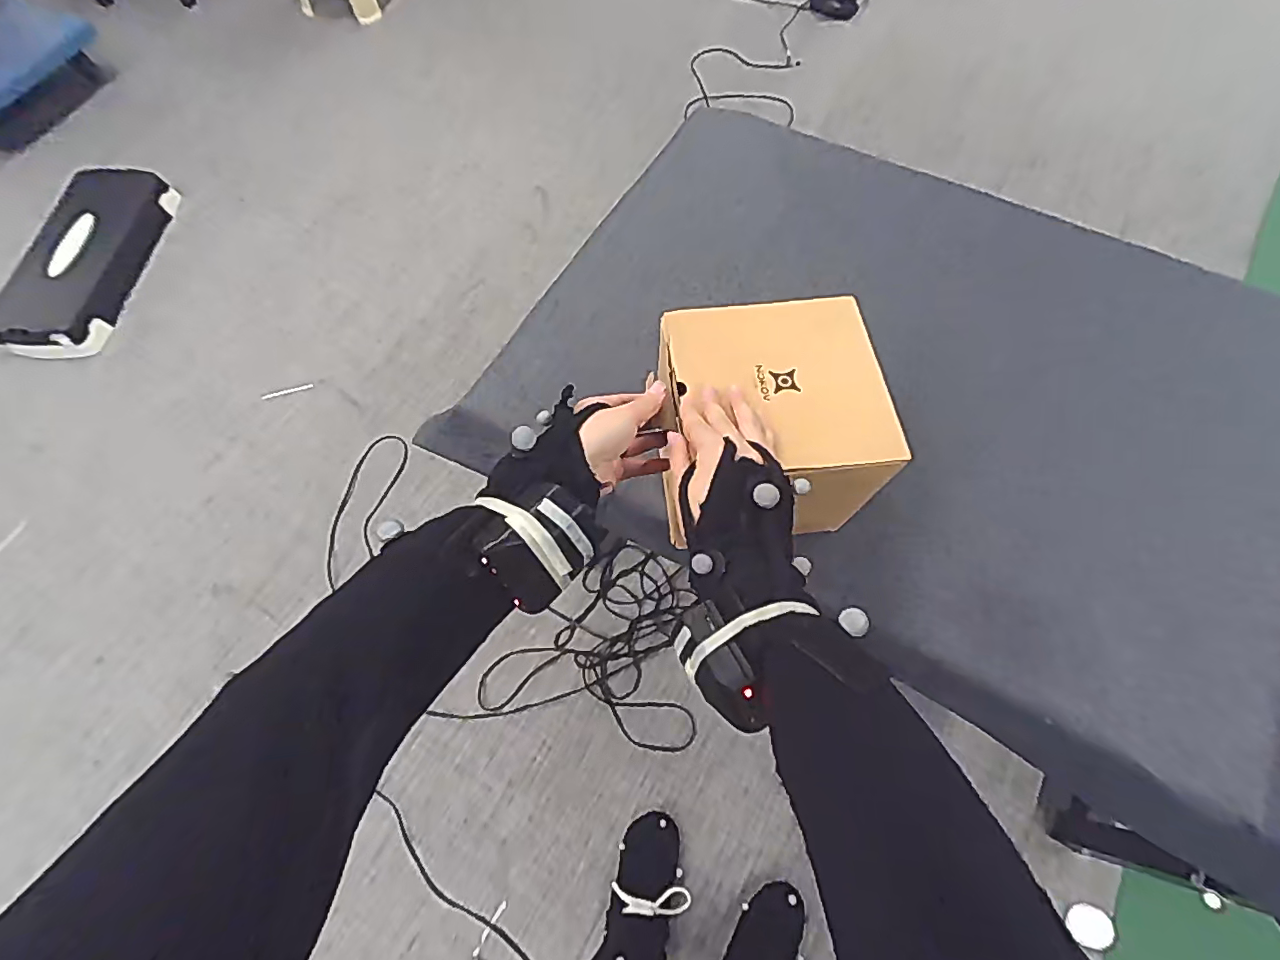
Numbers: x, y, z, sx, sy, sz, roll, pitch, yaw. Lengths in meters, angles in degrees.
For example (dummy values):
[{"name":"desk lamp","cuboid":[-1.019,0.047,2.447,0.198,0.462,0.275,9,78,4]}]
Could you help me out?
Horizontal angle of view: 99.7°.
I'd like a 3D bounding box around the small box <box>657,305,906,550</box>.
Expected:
[{"name":"small box","cuboid":[0.112,-0.040,0.516,0.179,0.176,0.168,-6,66,-2]}]
